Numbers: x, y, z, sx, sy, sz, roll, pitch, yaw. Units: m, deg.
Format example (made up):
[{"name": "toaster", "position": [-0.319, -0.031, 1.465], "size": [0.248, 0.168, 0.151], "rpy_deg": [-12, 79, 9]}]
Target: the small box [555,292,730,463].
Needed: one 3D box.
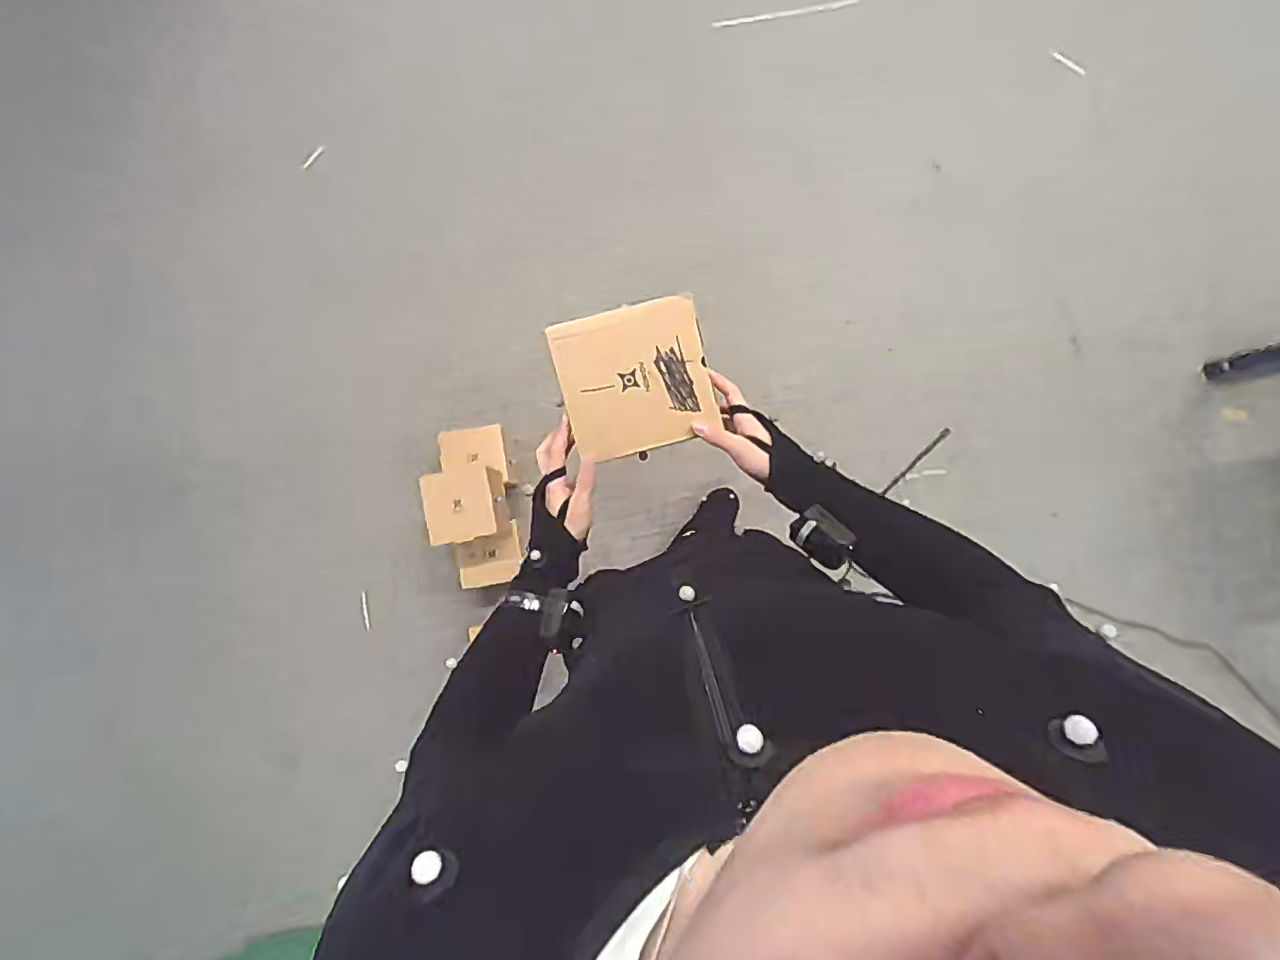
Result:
[{"name": "small box", "position": [-0.003, -0.124, 0.695], "size": [0.179, 0.176, 0.168], "rpy_deg": [-14, 96, -4]}]

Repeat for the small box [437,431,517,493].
[{"name": "small box", "position": [-0.459, -0.039, 1.556], "size": [0.179, 0.176, 0.168], "rpy_deg": [-10, 87, -1]}]

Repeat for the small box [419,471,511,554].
[{"name": "small box", "position": [-0.439, 0.084, 1.384], "size": [0.168, 0.176, 0.179], "rpy_deg": [-12, 85, -2]}]
